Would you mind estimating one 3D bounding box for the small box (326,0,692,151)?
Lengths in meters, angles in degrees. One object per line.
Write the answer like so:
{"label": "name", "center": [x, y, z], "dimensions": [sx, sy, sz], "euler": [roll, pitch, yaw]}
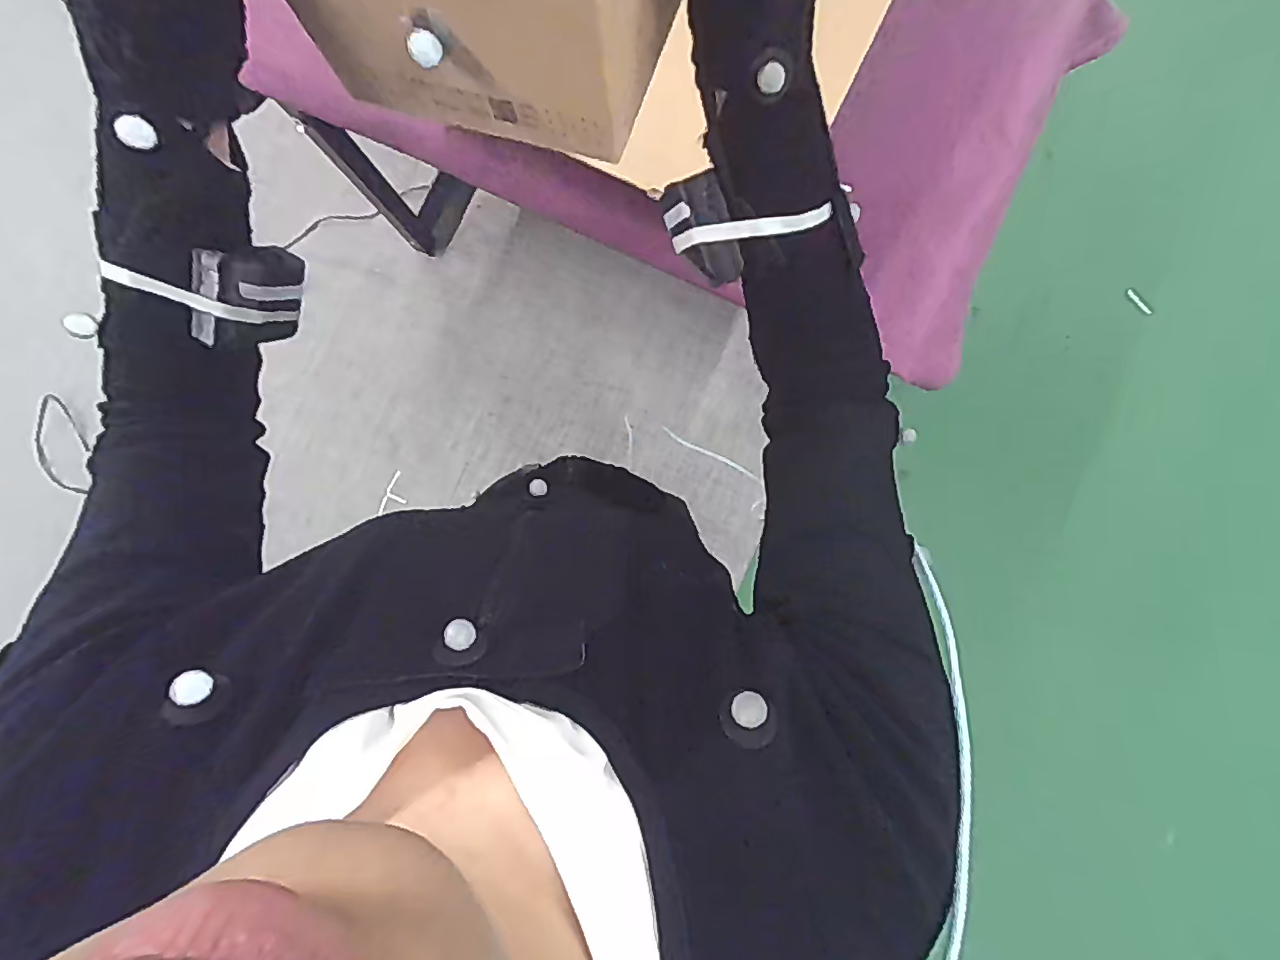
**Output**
{"label": "small box", "center": [-0.058, -0.291, 0.230], "dimensions": [0.168, 0.176, 0.179], "euler": [18, 83, 7]}
